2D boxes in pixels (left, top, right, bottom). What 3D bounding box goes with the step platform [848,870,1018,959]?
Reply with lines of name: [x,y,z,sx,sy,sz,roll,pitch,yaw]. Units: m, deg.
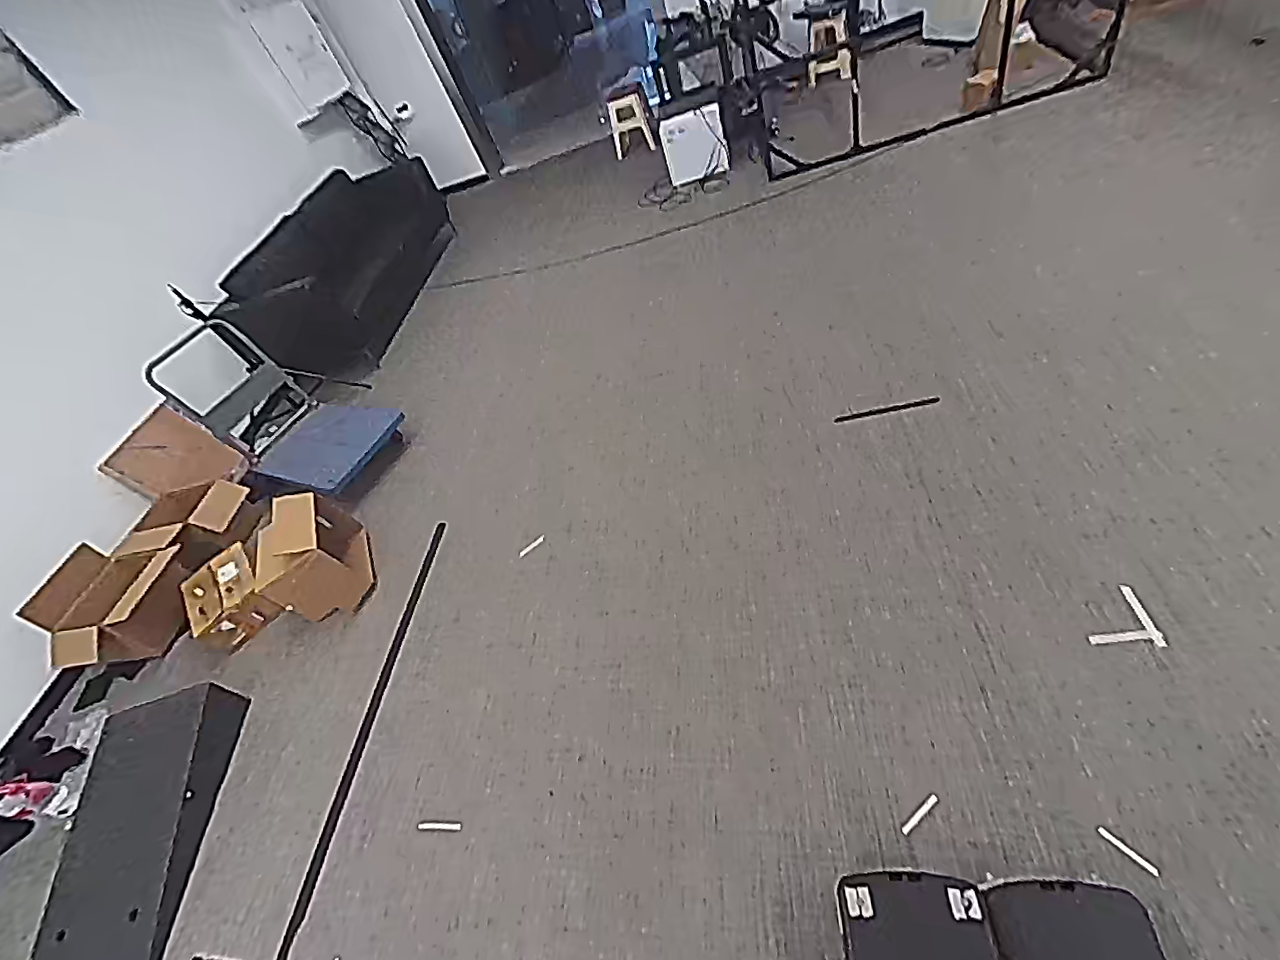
step platform: [0.577,1.105,0.949,0.286,0.204,0.684,-10,47,15]
